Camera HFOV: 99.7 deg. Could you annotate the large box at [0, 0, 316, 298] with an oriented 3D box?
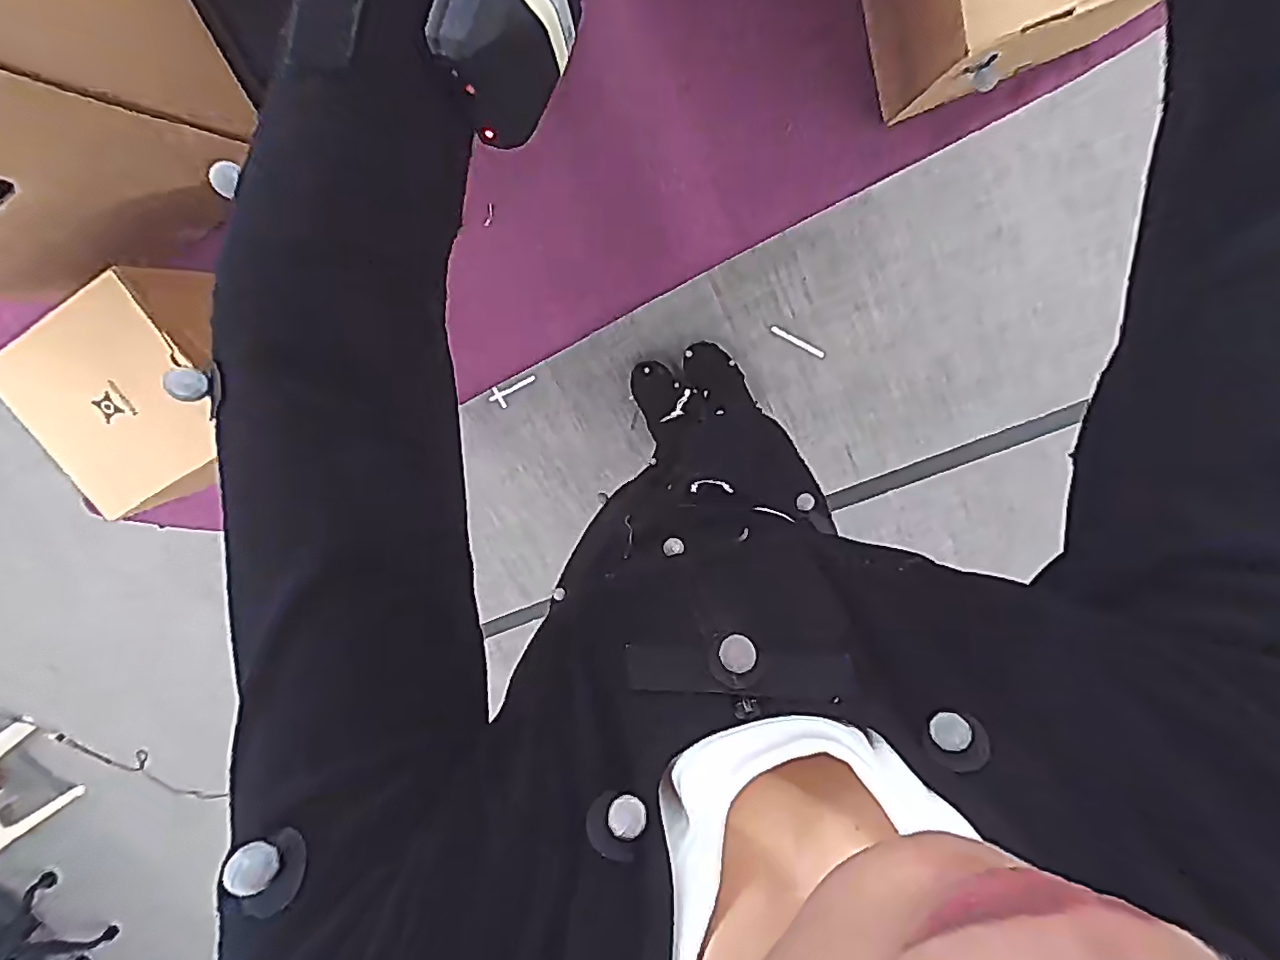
[{"bbox_3d":[-0.559,-0.385,0.391,0.320,0.320,0.408,-23,109,14],"label":"large box"}]
